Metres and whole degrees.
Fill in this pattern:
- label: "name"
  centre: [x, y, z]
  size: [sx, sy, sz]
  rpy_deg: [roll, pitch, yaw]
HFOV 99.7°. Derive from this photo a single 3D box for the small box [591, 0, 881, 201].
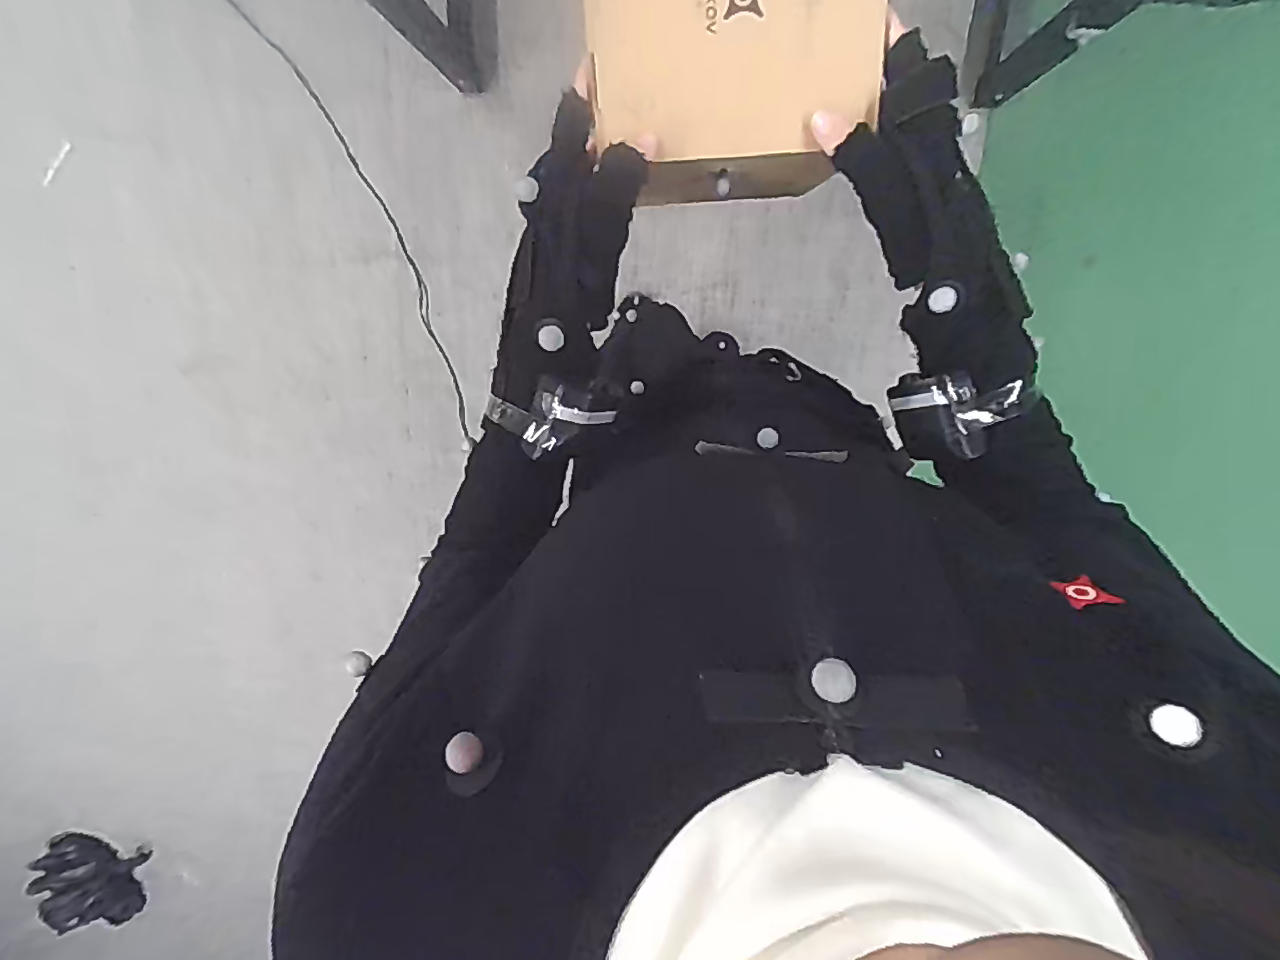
- label: "small box"
  centre: [0.057, -0.315, 0.398]
  size: [0.179, 0.176, 0.168]
  rpy_deg: [-4, 108, 0]
